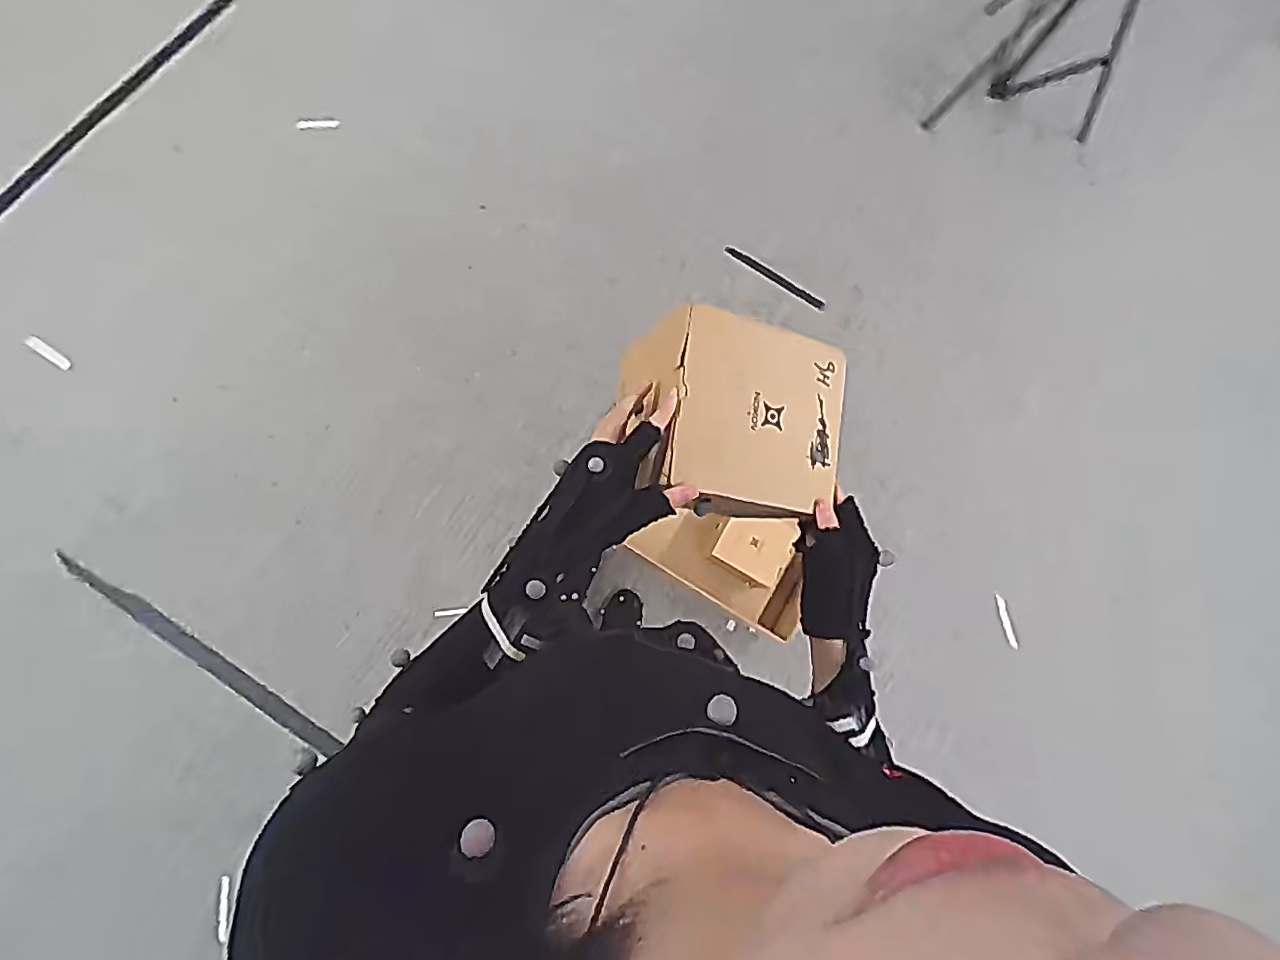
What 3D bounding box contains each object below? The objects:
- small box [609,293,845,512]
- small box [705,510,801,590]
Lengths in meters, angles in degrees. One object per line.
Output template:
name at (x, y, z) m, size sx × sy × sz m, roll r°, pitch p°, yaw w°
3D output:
small box at (0.079, -0.060, 0.555) m, size 0.179 × 0.176 × 0.168 m, roll 11°, pitch 81°, yaw -21°
small box at (0.294, 0.178, 1.441) m, size 0.179 × 0.176 × 0.168 m, roll 30°, pitch 78°, yaw 3°
